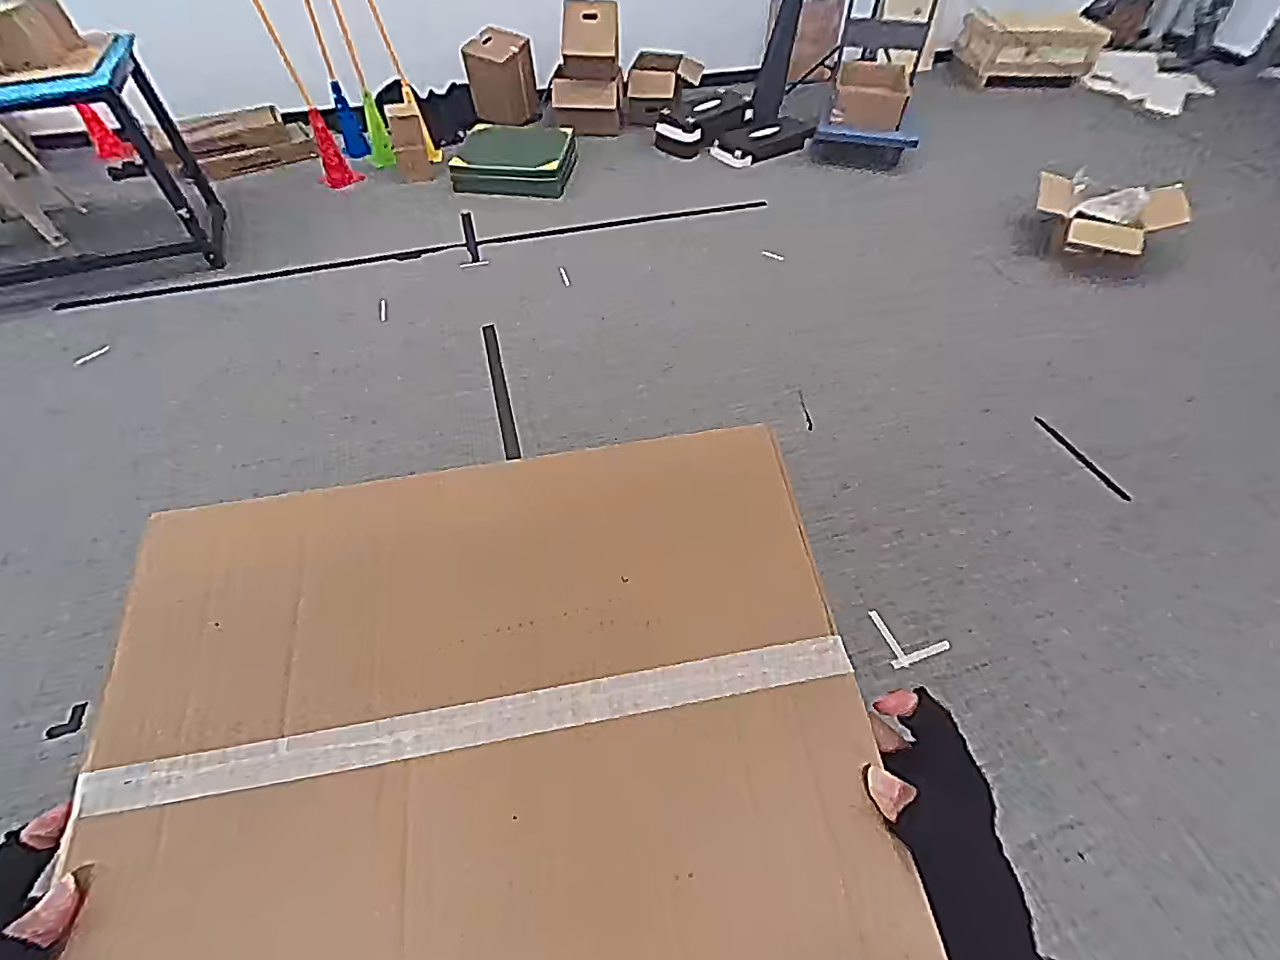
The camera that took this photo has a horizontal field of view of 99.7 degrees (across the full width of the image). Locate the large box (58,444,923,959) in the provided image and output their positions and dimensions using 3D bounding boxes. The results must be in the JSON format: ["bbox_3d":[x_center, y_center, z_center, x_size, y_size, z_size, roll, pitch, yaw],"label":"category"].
[{"bbox_3d":[-0.084,0.206,0.429,0.408,0.320,0.320,-9,63,-4],"label":"large box"}]
